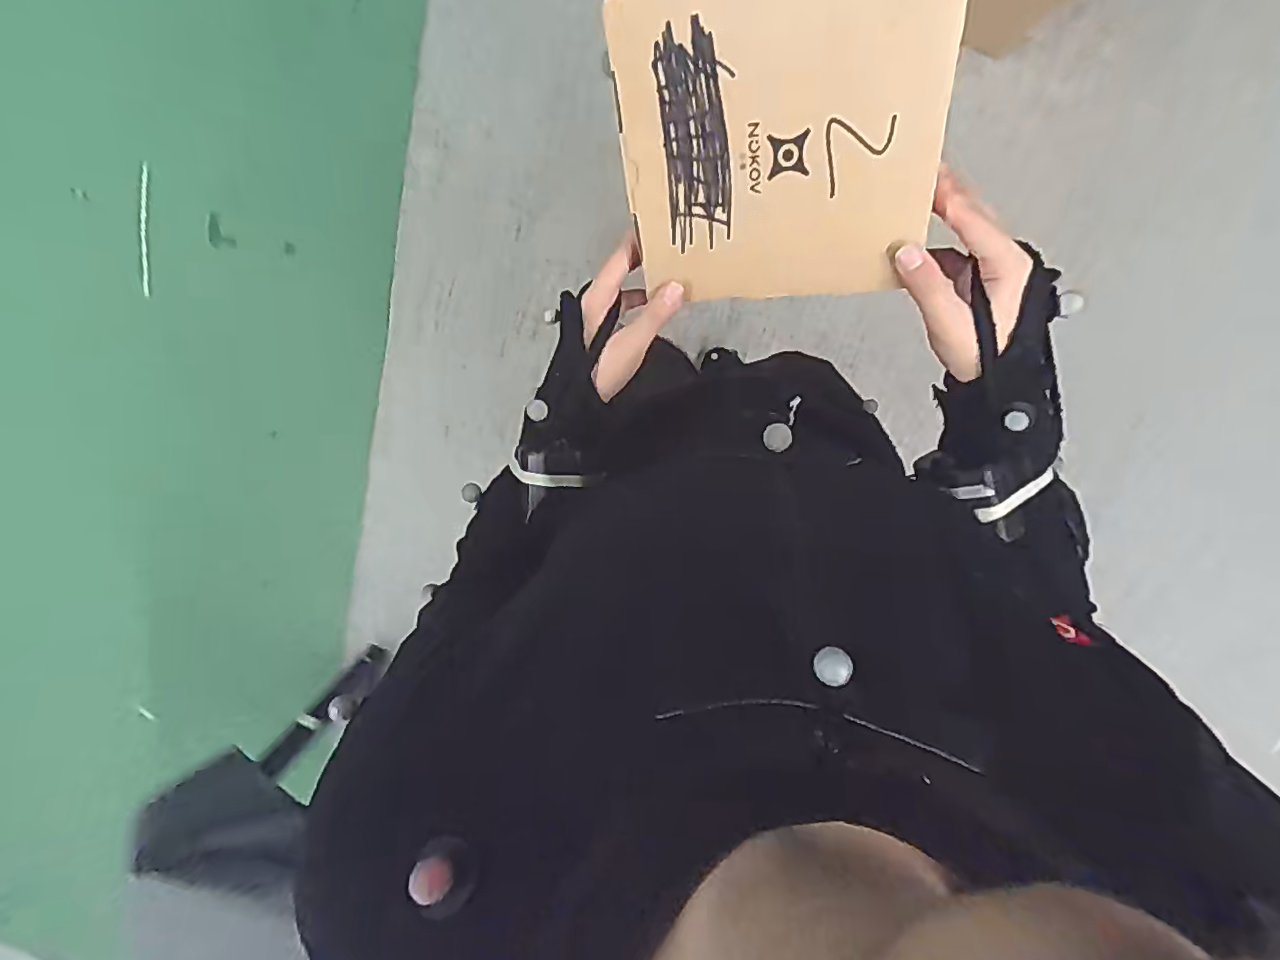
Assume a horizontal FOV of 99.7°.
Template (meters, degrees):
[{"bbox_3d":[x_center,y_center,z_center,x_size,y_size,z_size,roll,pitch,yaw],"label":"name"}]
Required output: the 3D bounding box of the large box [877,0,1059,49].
[{"bbox_3d":[0.549,-0.985,0.850,0.408,0.320,0.320,22,110,-1],"label":"large box"}]
